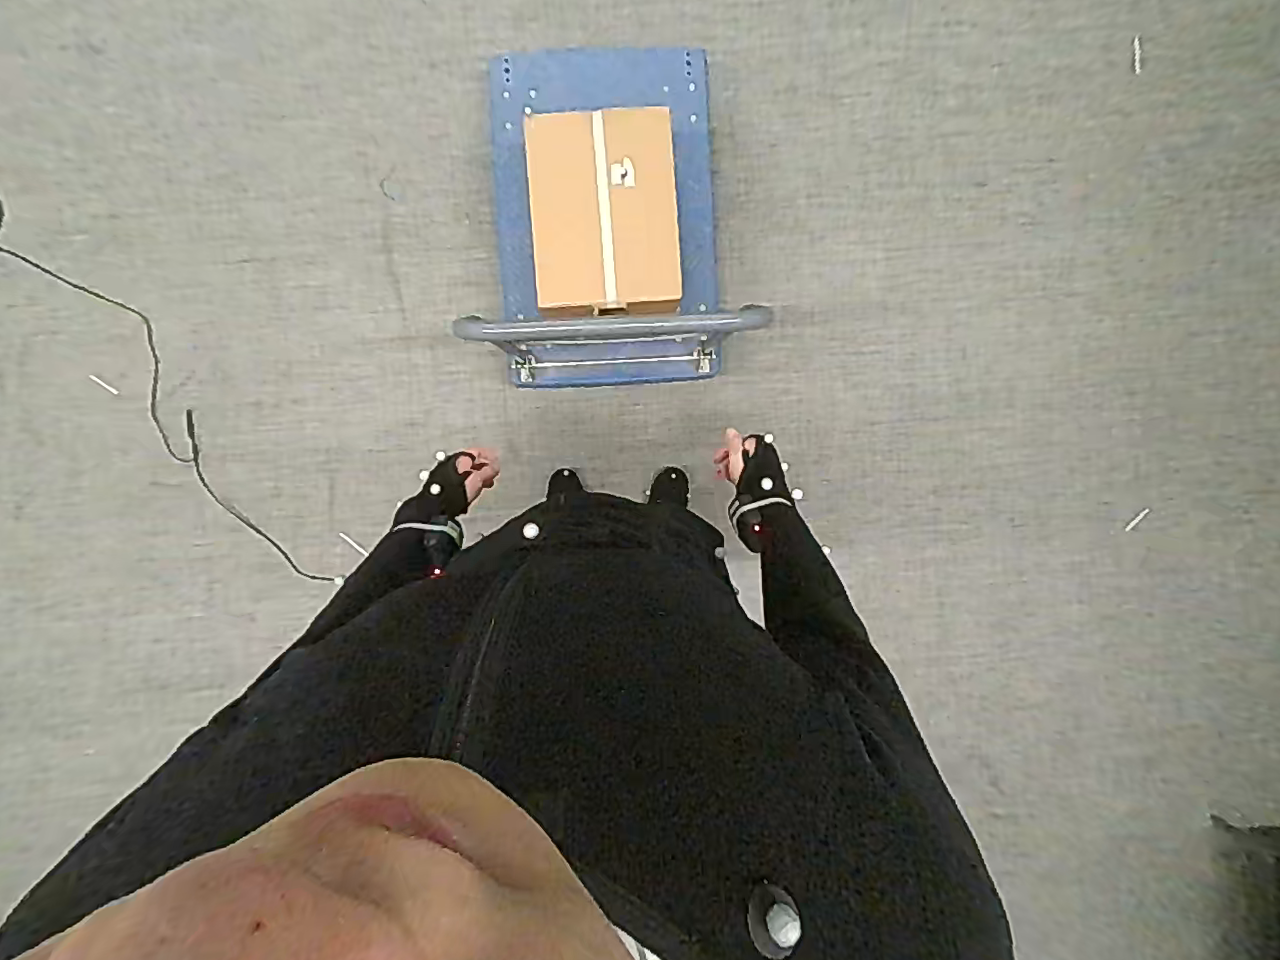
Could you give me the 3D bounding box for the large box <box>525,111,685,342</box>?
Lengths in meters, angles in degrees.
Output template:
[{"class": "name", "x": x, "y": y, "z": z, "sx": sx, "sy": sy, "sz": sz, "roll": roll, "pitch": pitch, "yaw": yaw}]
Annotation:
[{"class": "large box", "x": -0.075, "y": -0.575, "z": 1.297, "sx": 0.320, "sy": 0.320, "sz": 0.408, "roll": -4, "pitch": 92, "yaw": -2}]
